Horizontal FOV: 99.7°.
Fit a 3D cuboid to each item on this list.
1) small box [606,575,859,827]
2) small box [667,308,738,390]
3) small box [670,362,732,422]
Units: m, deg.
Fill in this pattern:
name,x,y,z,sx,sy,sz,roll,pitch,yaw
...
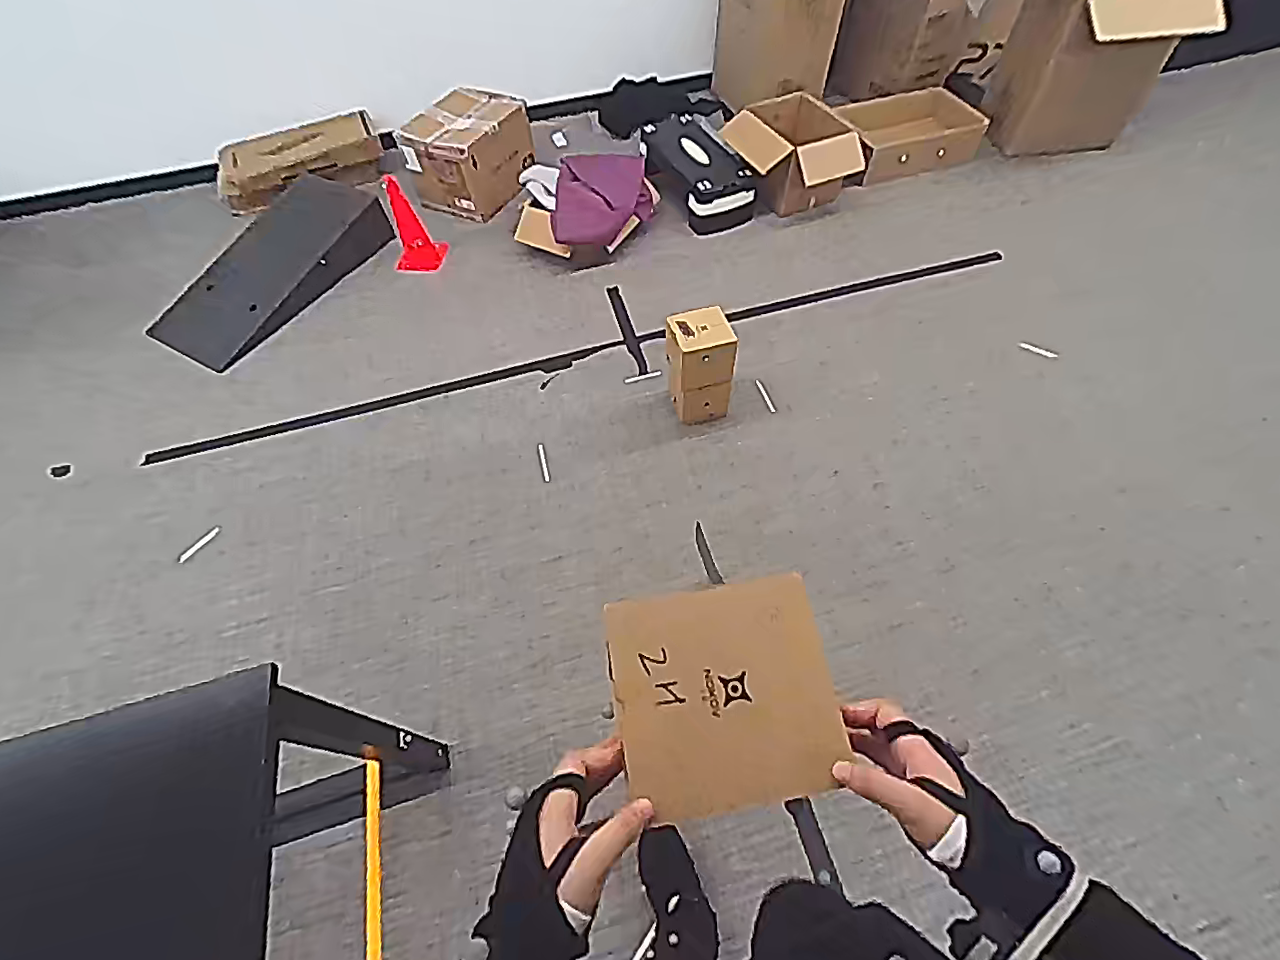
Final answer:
name,x,y,z,sx,sy,sz,roll,pitch,yaw
small box,0.067,0.195,0.500,0.179,0.176,0.168,-9,67,-4
small box,0.191,-0.402,1.685,0.179,0.176,0.168,-14,57,-7
small box,0.203,-0.313,1.825,0.168,0.176,0.179,-13,58,-6
